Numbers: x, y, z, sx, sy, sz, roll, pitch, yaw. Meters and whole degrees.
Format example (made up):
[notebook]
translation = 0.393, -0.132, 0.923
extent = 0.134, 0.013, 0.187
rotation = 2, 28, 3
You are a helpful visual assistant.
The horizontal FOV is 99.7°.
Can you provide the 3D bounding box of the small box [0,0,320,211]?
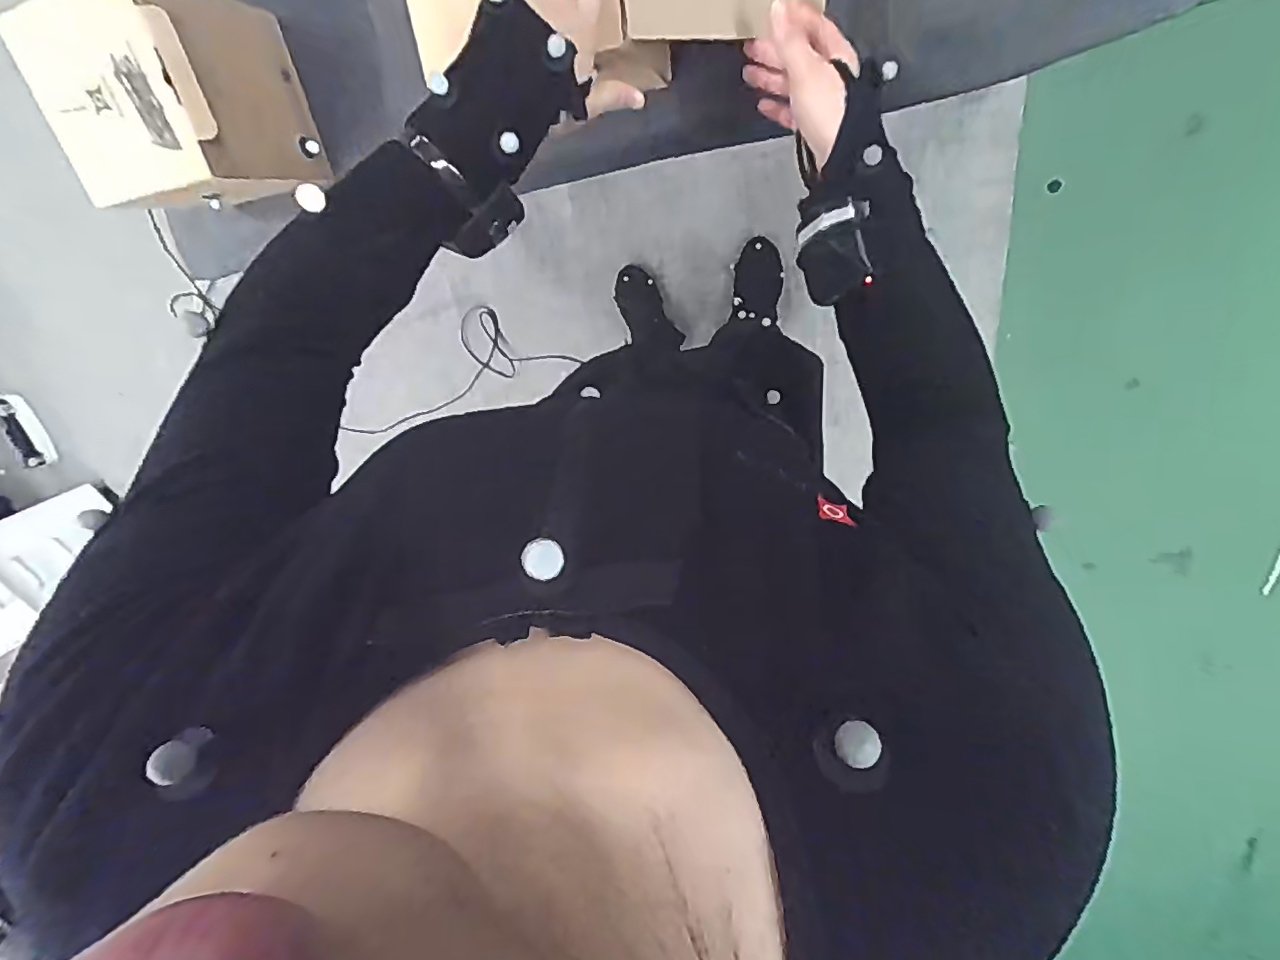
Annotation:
[small box]
translation = -0.489, -0.401, 0.587
extent = 0.179, 0.176, 0.168
rotation = -2, 117, 17
